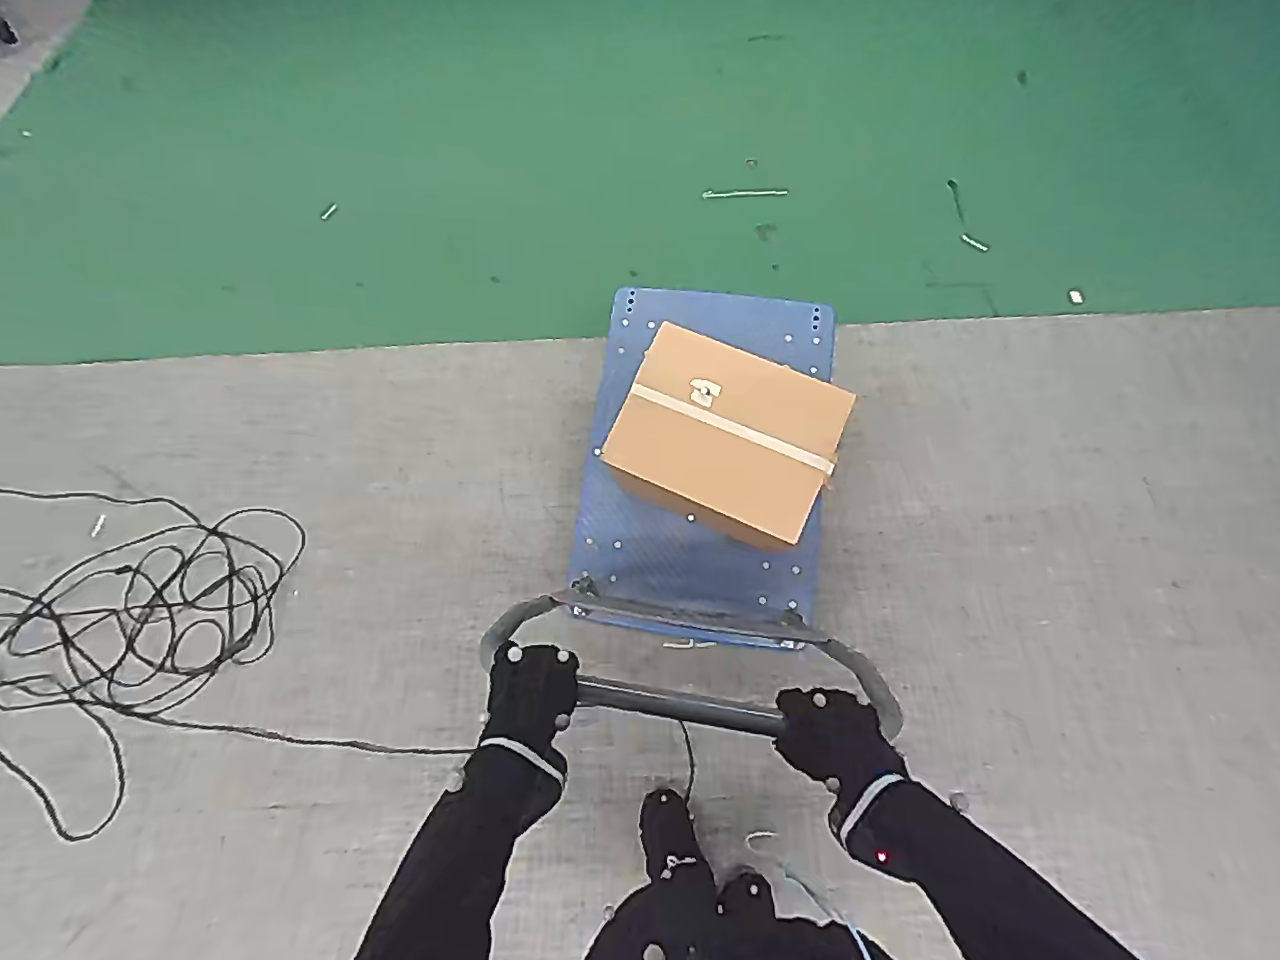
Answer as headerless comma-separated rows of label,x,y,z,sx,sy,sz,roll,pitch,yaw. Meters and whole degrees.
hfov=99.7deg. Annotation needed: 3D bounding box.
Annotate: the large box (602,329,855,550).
large box,0.184,-0.067,1.171,0.408,0.320,0.320,23,82,10
